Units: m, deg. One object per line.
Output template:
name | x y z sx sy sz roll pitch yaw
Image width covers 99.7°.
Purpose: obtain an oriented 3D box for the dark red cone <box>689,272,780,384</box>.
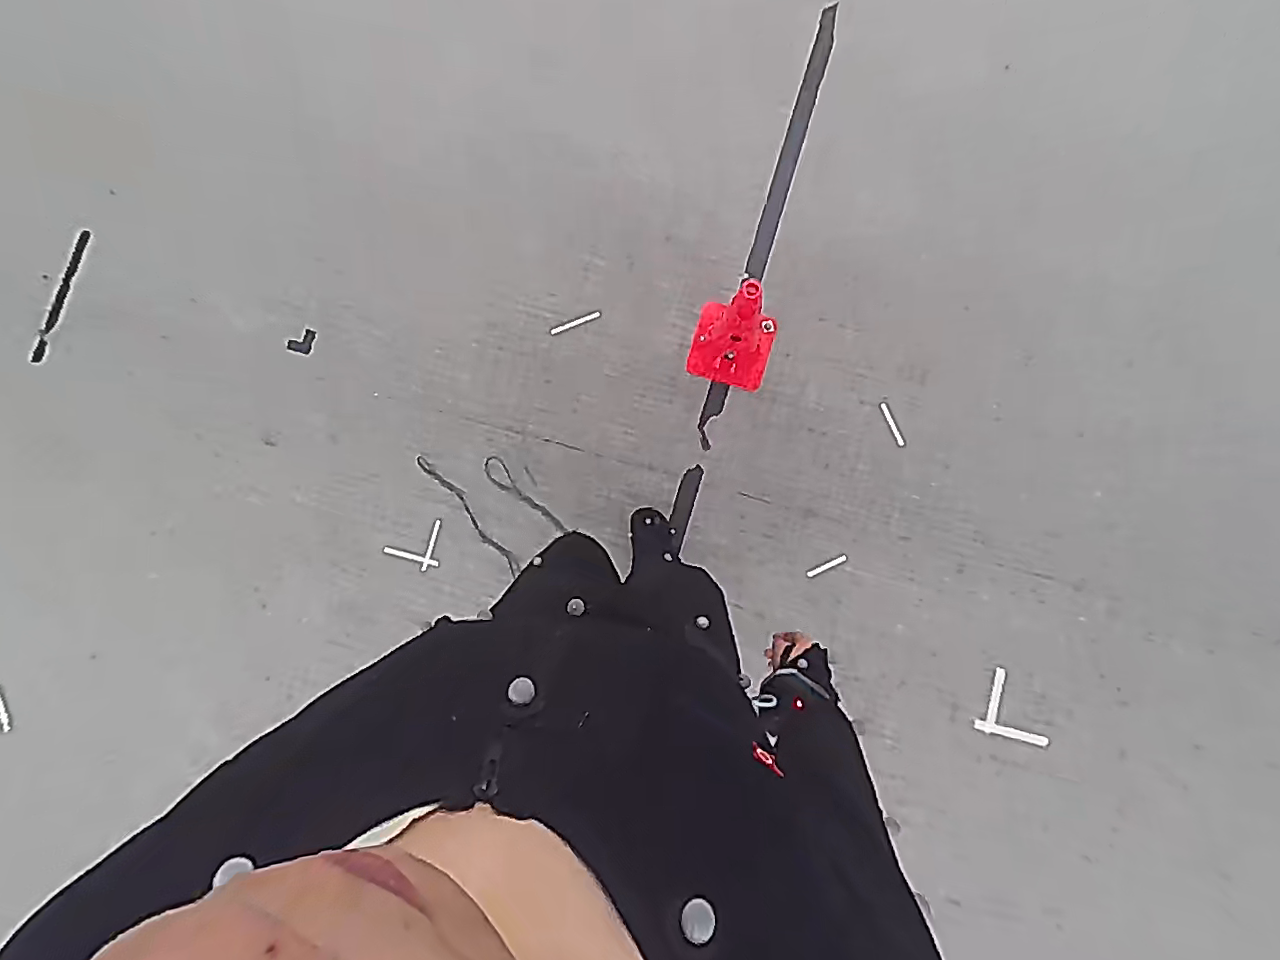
dark red cone | 0.225 -0.364 1.205 0.201 0.394 0.202 16 88 5
